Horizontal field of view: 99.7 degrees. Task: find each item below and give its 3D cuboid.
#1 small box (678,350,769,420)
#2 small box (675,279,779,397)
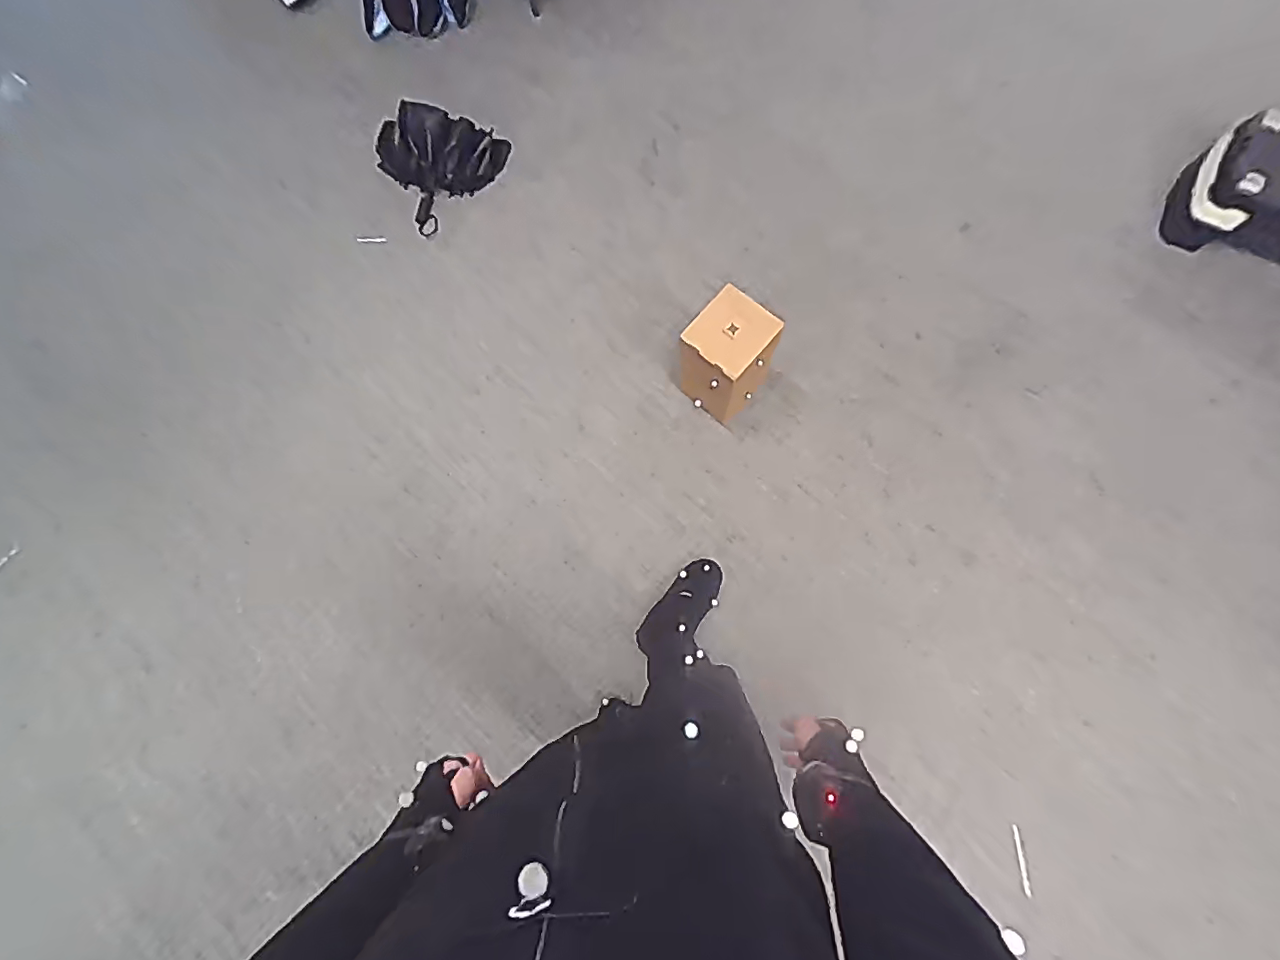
[{"bbox_3d":[0.214,-0.291,1.434,0.168,0.176,0.179,41,84,12],"label":"small box"},{"bbox_3d":[0.201,-0.326,1.276,0.168,0.176,0.179,39,82,11],"label":"small box"}]
